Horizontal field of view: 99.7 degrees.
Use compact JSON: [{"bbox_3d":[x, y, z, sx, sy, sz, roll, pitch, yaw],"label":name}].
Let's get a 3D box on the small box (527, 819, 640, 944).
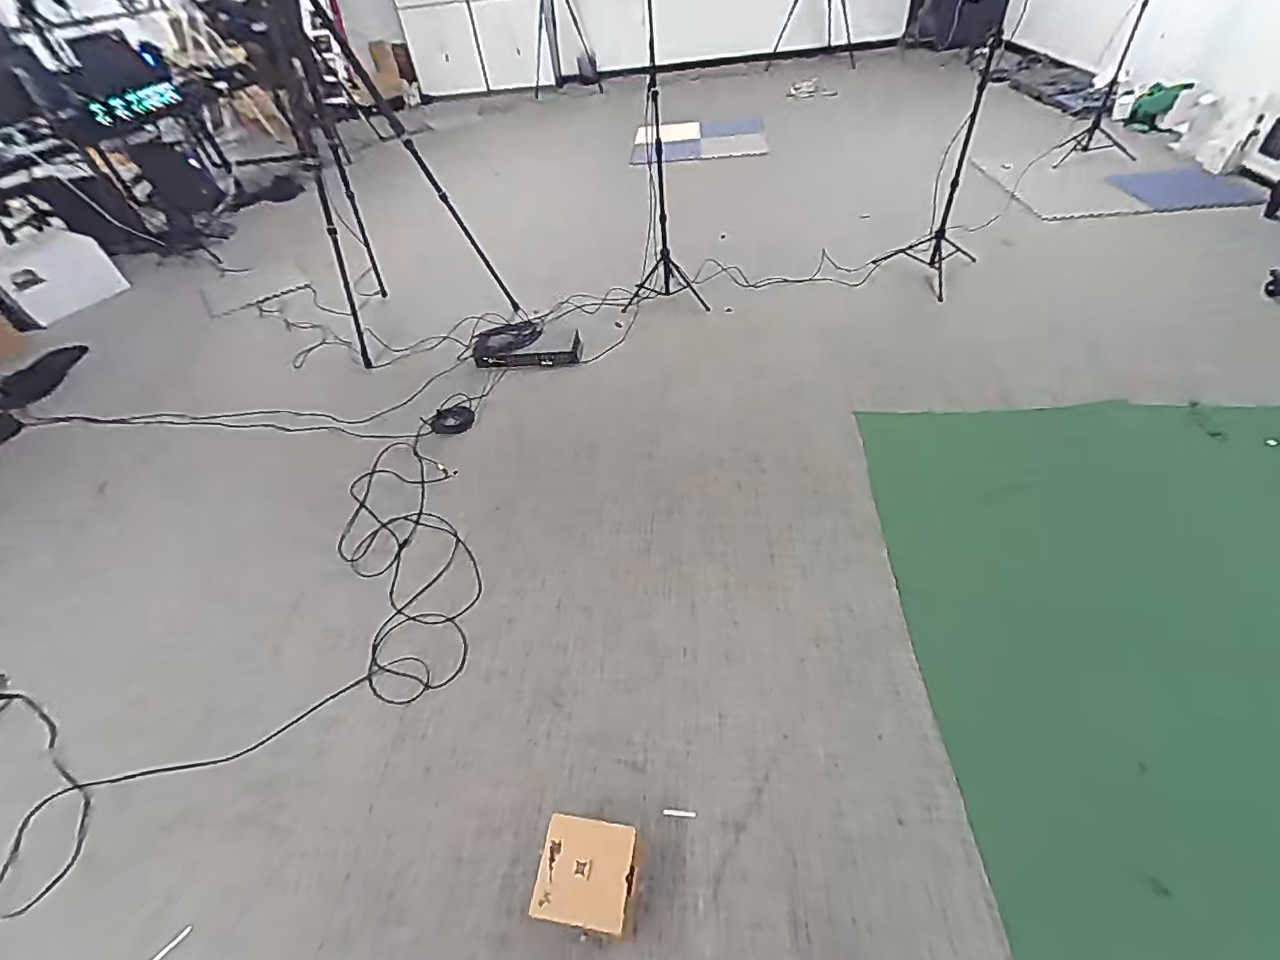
[{"bbox_3d":[-0.099,0.791,1.064,0.179,0.176,0.168,3,47,10],"label":"small box"}]
